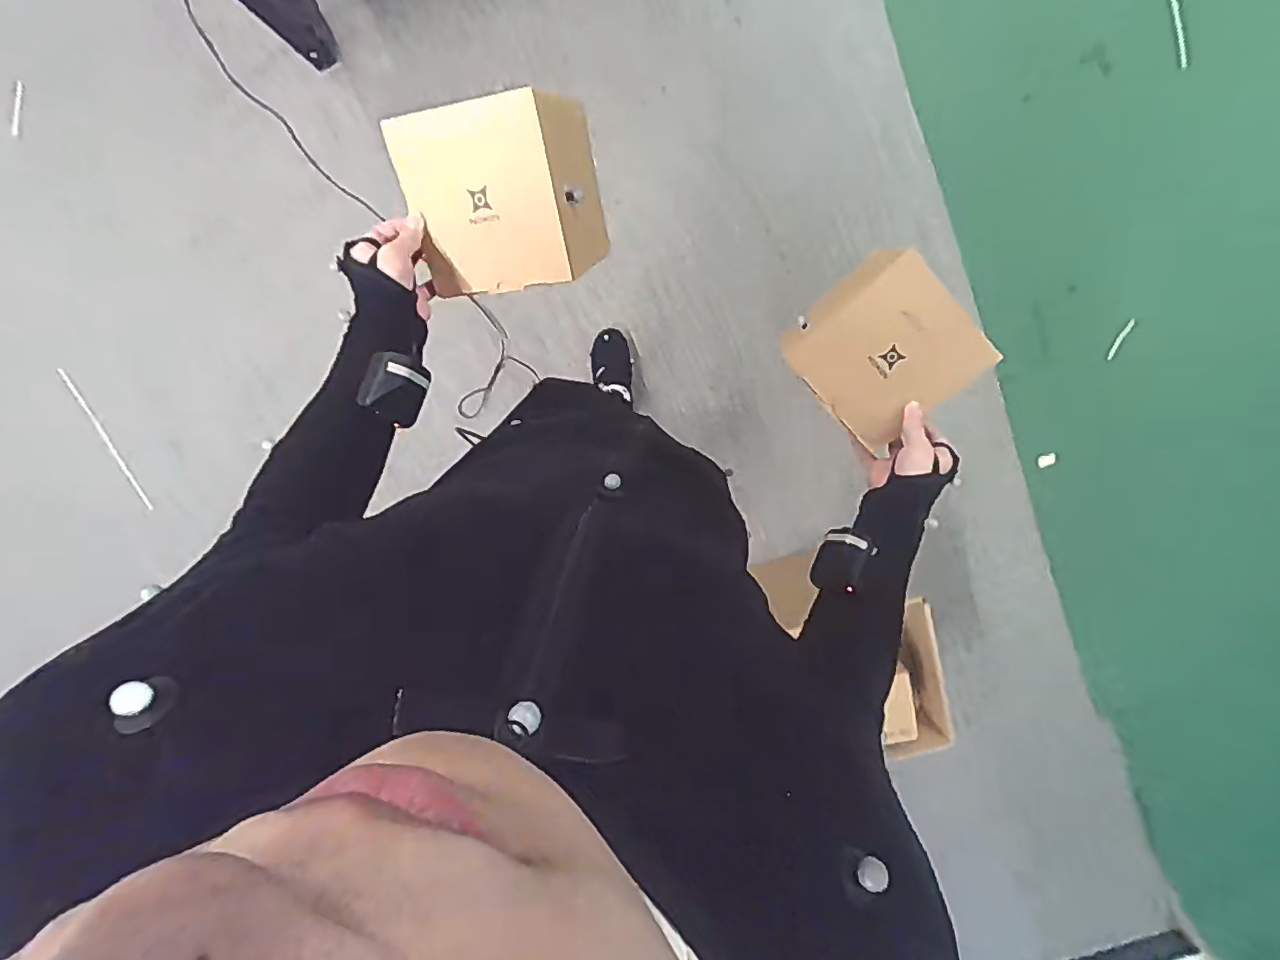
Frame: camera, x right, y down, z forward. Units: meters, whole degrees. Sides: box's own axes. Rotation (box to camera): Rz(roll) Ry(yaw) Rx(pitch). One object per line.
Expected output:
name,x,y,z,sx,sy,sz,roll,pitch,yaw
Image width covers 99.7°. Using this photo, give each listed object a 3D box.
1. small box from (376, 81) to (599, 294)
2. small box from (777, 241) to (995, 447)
small box,-0.156,-0.331,0.623,0.168,0.176,0.179,-3,122,14
small box,0.295,-0.176,0.691,0.168,0.176,0.179,44,113,-7
